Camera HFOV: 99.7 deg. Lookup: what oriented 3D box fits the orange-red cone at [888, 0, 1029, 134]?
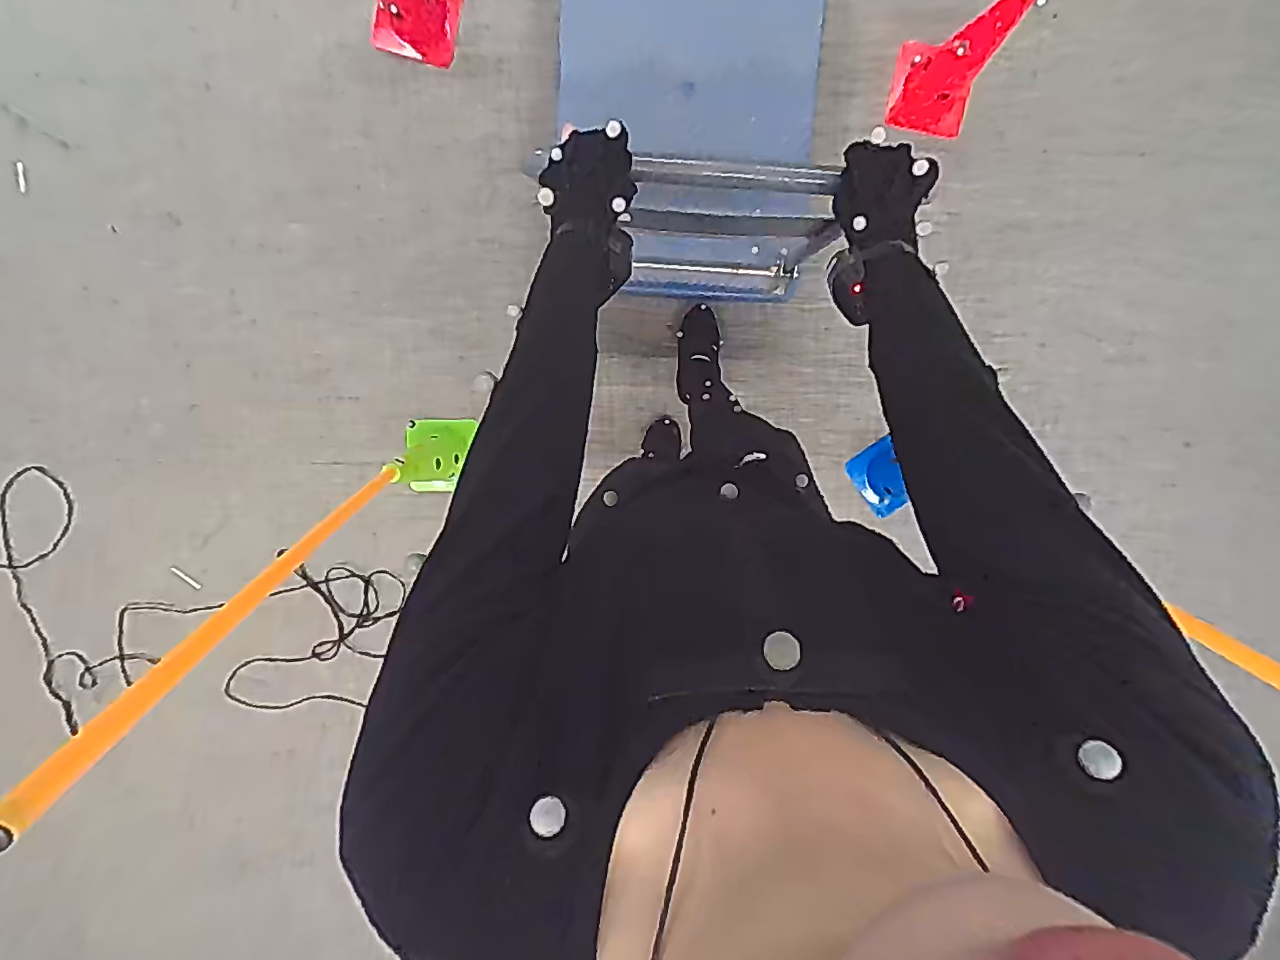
[{"bbox_3d":[0.739,-0.964,1.191,0.198,0.360,0.199,12,99,-2],"label":"orange-red cone"}]
